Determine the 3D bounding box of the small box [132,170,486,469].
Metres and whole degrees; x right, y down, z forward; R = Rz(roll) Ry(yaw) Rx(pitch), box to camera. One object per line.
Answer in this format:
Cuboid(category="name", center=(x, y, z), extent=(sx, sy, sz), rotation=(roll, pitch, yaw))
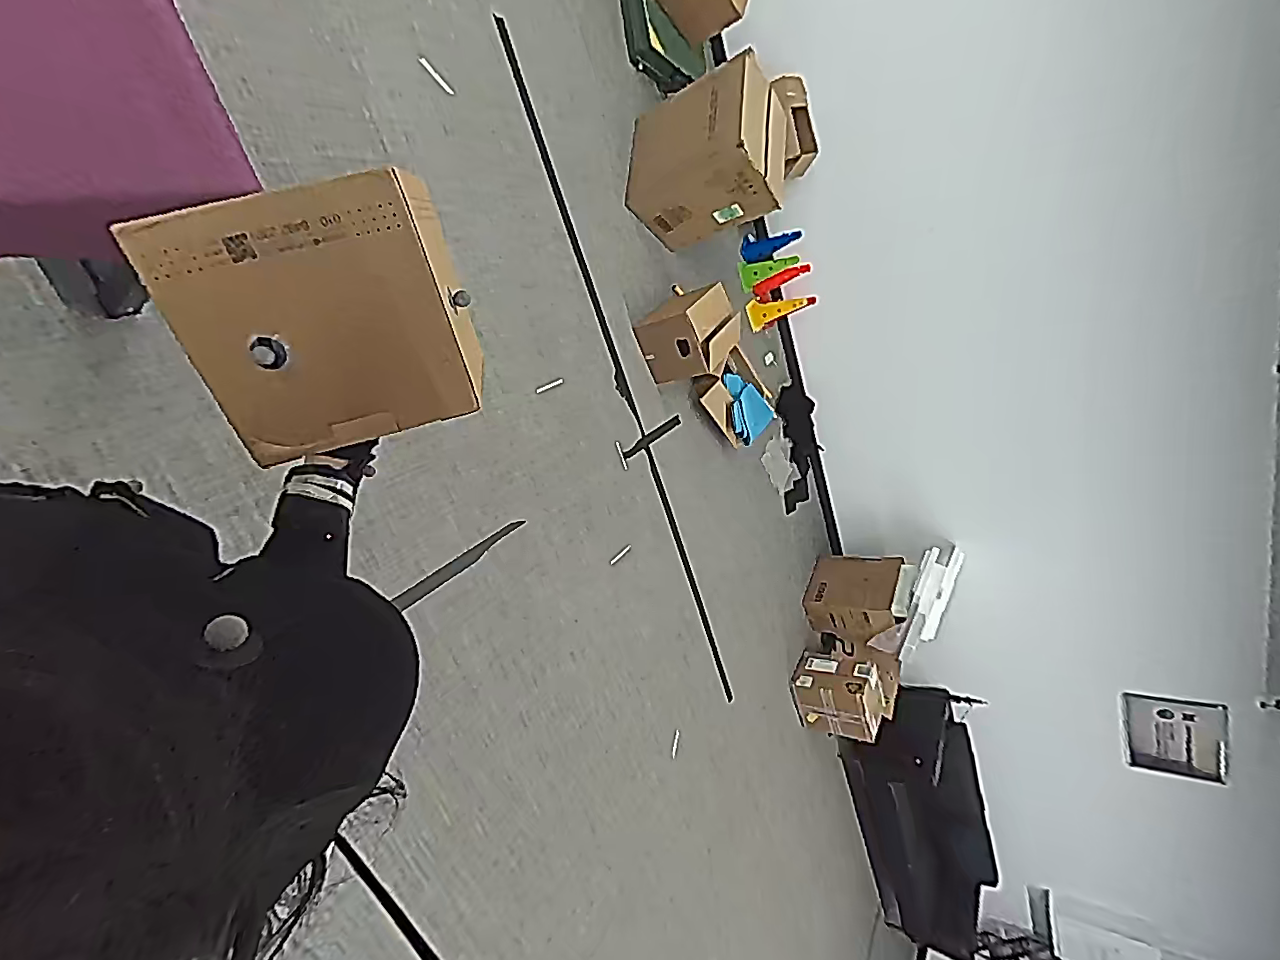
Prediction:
Cuboid(category="small box", center=(-0.228, -0.136, 0.426), extent=(0.179, 0.168, 0.176), rotation=(-119, -164, -60))
